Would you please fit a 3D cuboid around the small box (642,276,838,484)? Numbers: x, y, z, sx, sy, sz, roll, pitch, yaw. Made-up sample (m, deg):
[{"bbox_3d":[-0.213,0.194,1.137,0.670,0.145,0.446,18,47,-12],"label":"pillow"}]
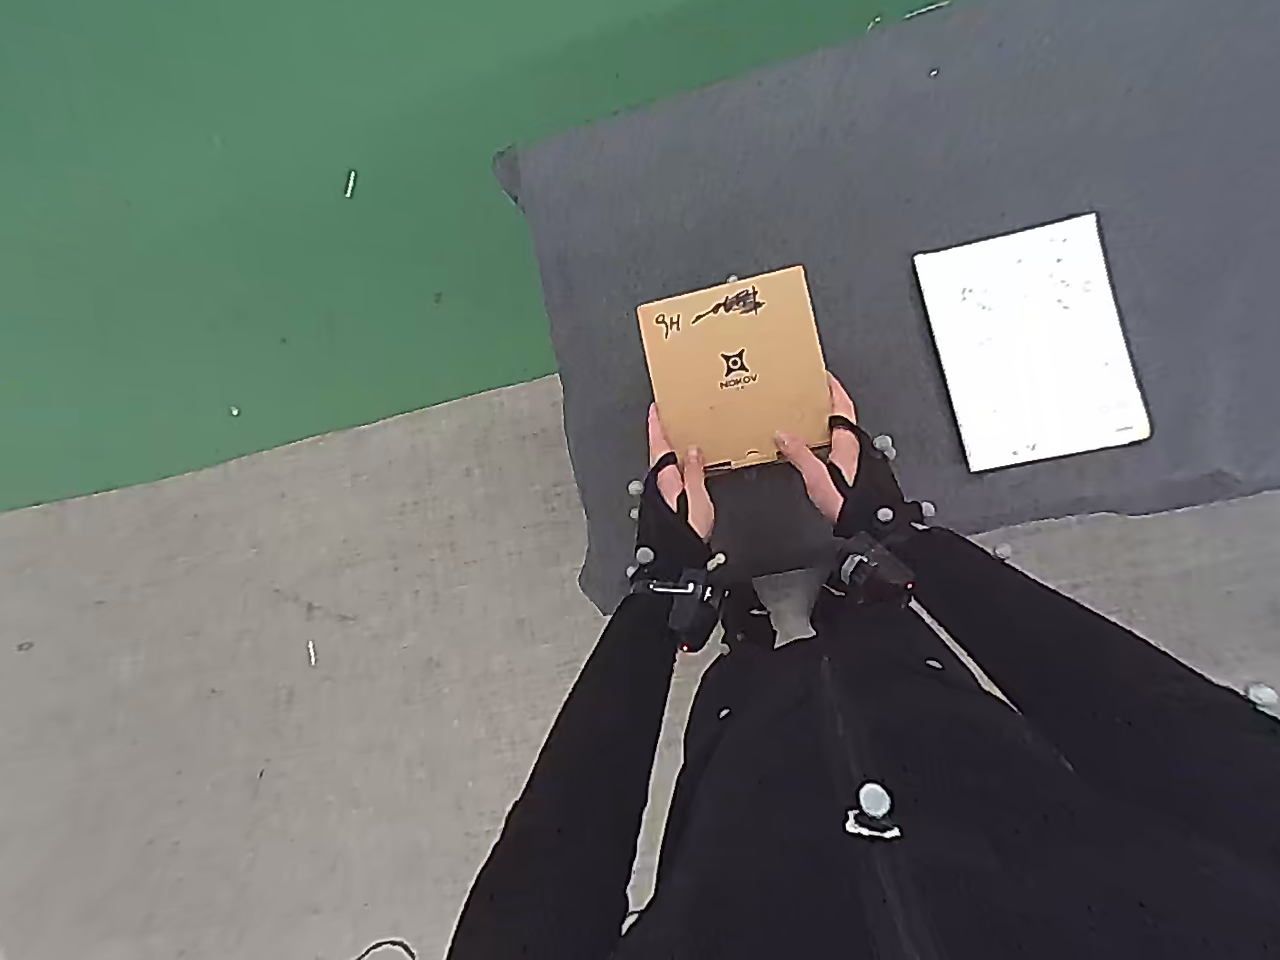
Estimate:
[{"bbox_3d":[0.107,-0.097,0.603,0.168,0.176,0.179,-11,88,7],"label":"small box"}]
